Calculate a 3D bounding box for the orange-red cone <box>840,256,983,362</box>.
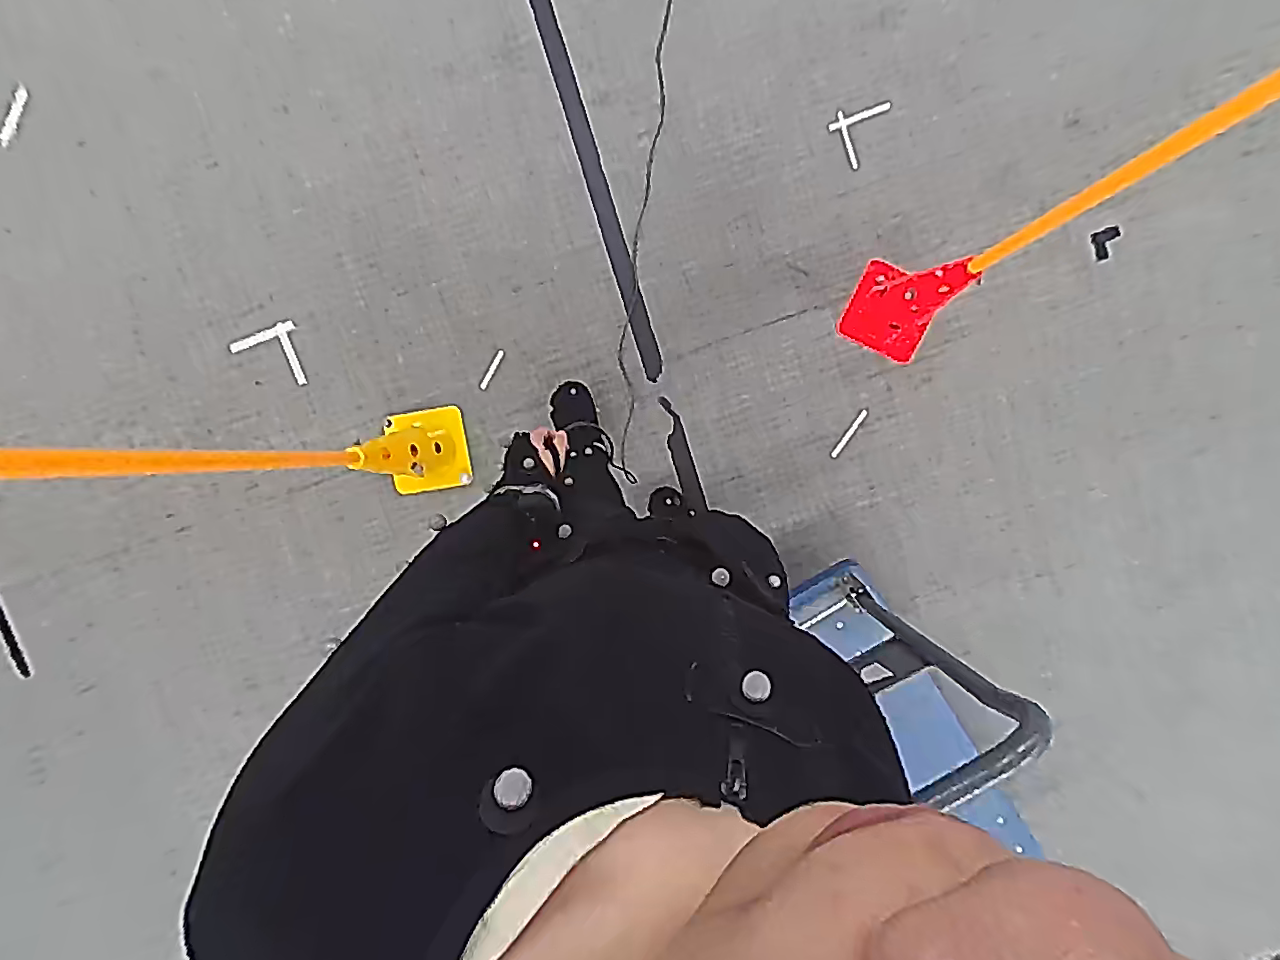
[{"bbox_3d":[0.601,-0.393,1.138,0.198,0.360,0.199,27,96,0],"label":"orange-red cone"}]
